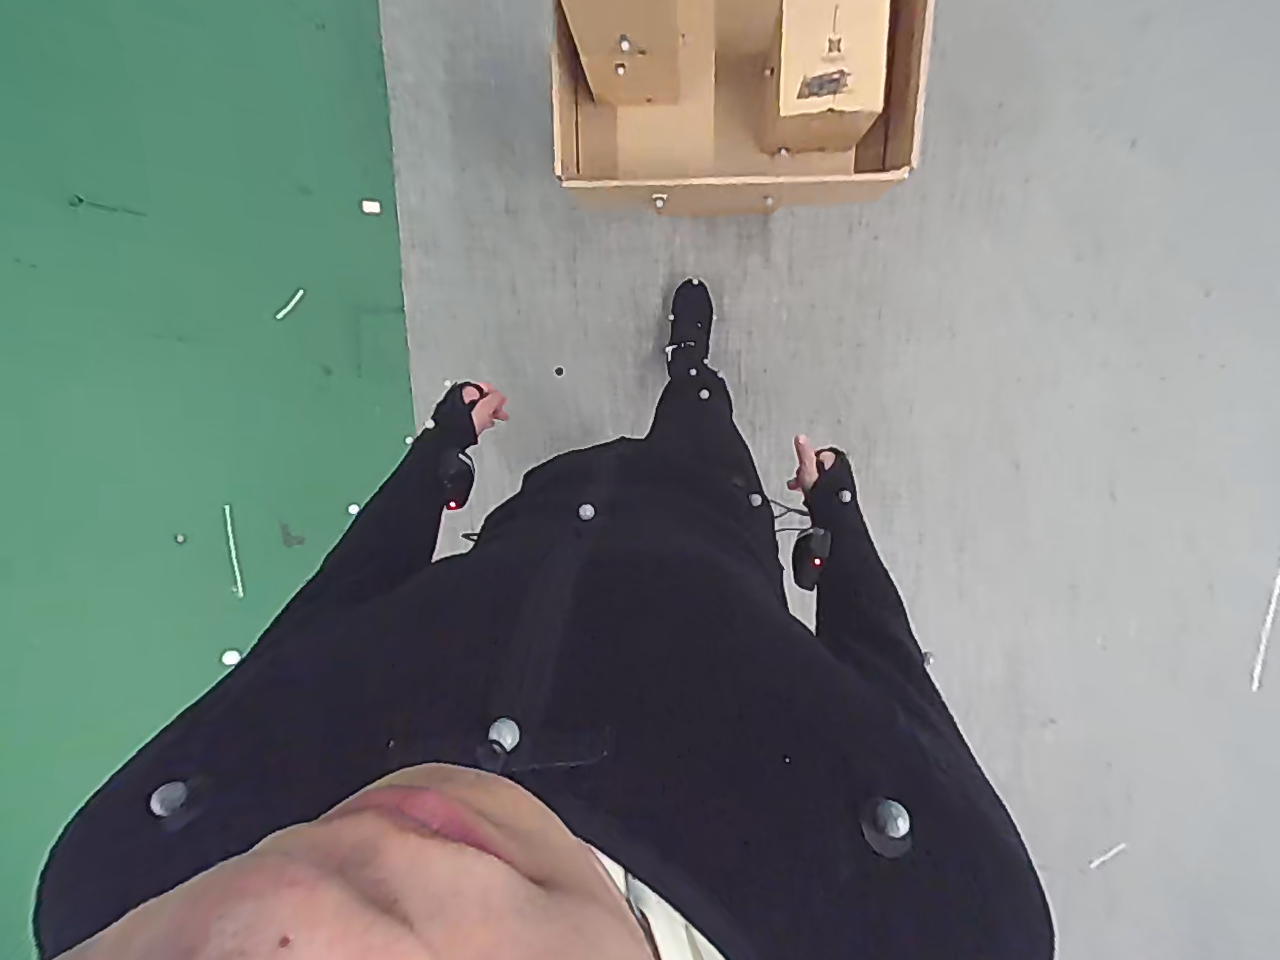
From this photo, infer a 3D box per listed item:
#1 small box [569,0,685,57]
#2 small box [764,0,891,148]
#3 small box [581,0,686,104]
[{"bbox_3d":[-0.016,-0.750,0.769,0.168,0.176,0.179,5,103,3],"label":"small box"},{"bbox_3d":[0.310,-0.691,0.927,0.168,0.176,0.179,0,101,3],"label":"small box"},{"bbox_3d":[-0.007,-0.785,0.929,0.168,0.176,0.179,3,103,3],"label":"small box"}]
